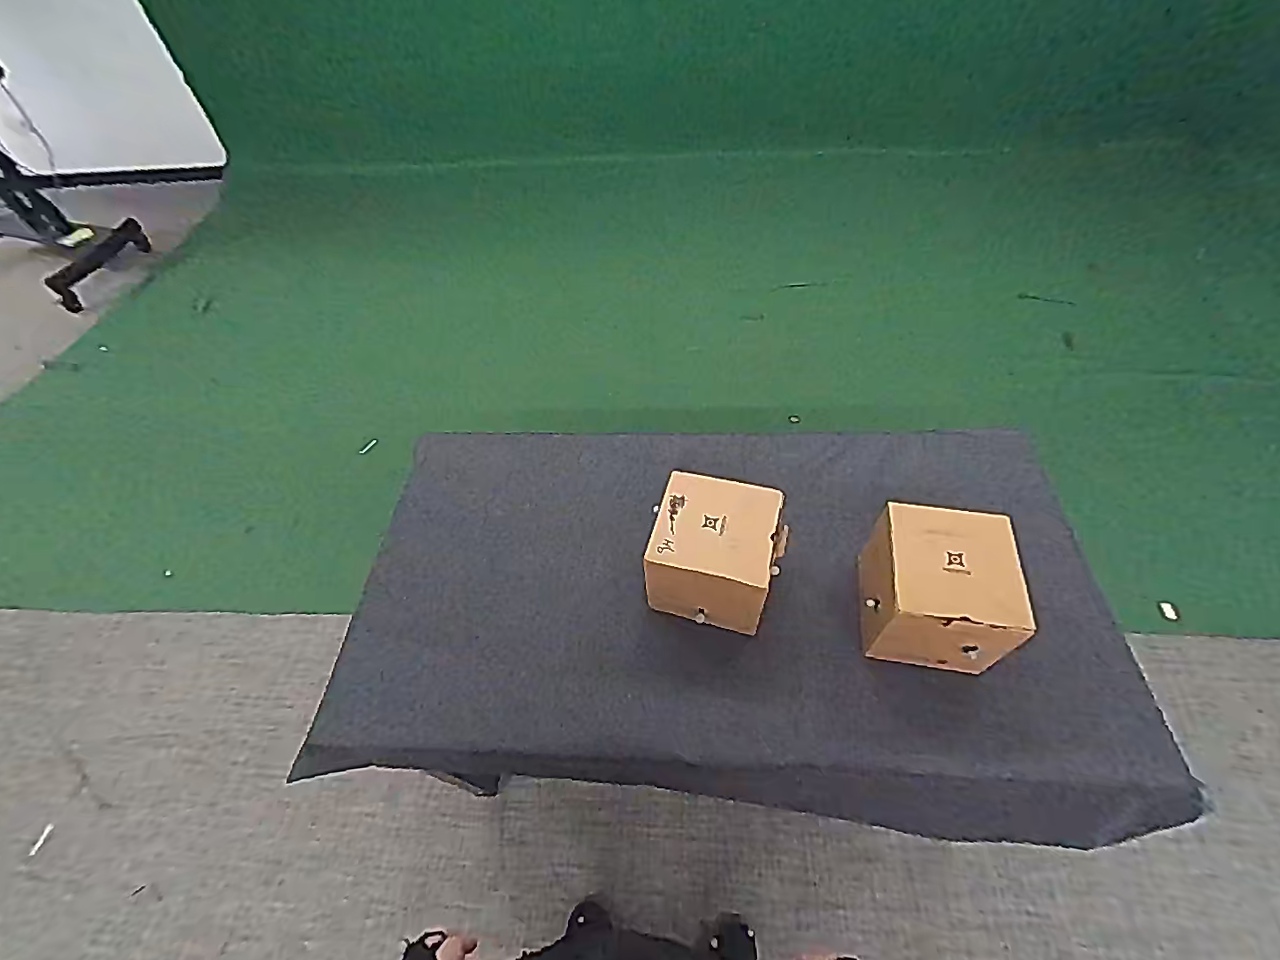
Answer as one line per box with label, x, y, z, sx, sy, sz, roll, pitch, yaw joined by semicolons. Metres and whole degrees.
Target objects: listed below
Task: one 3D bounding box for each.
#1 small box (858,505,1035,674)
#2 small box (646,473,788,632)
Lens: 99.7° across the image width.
small box;0.427;0.163;0.788;0.168;0.176;0.179;8;52;8
small box;0.117;0.117;0.843;0.179;0.176;0.168;13;54;12
